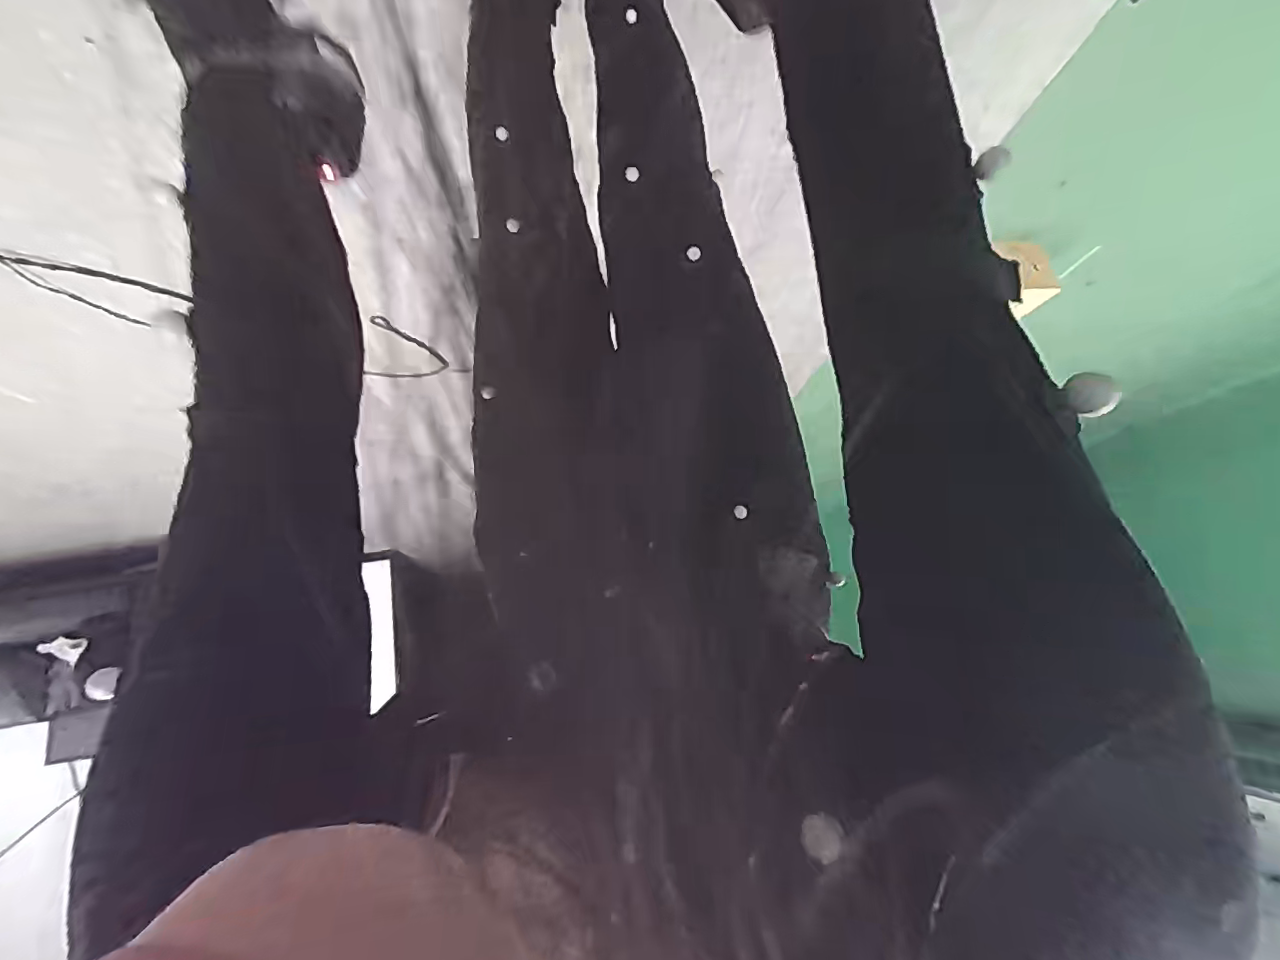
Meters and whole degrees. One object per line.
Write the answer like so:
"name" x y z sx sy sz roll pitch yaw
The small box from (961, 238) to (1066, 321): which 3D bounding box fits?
"small box" 1.096 -0.595 1.603 0.168 0.176 0.179 -6 165 -13
